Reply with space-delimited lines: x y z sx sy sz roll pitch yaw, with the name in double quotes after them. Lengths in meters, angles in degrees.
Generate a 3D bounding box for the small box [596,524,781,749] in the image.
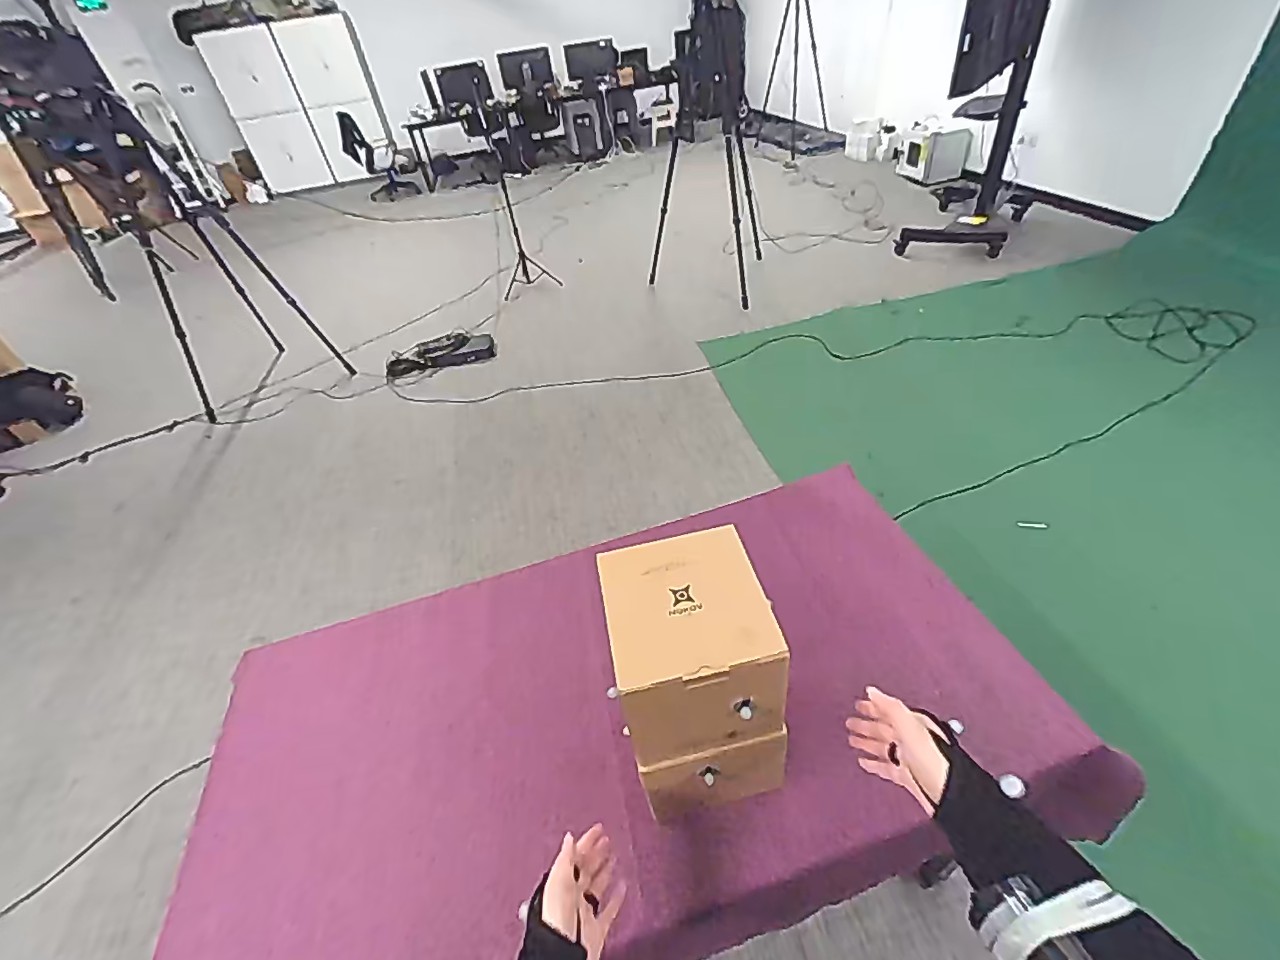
0.053 0.183 0.616 0.168 0.176 0.179 -12 40 -2 "small box"

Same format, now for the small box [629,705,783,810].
0.079 0.308 0.717 0.179 0.176 0.168 -14 42 -2 "small box"
